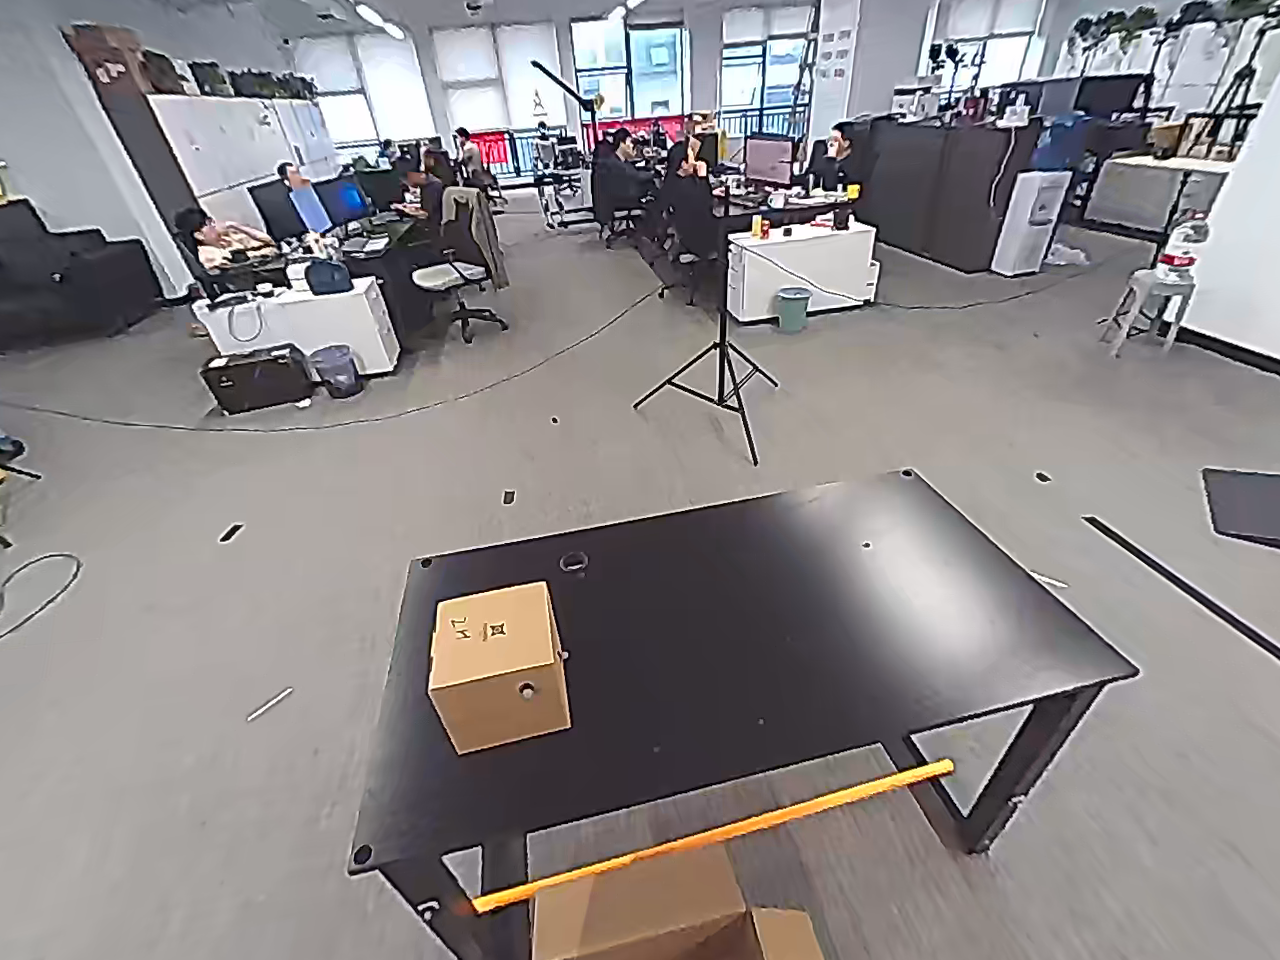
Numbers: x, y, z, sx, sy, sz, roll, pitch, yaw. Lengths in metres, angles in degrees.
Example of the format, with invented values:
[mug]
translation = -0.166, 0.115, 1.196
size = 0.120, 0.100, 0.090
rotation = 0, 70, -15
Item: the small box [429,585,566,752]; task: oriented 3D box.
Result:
[small box]
translation = -0.216, 0.298, 0.859
size = 0.179, 0.176, 0.168
rotation = -10, 35, -8
